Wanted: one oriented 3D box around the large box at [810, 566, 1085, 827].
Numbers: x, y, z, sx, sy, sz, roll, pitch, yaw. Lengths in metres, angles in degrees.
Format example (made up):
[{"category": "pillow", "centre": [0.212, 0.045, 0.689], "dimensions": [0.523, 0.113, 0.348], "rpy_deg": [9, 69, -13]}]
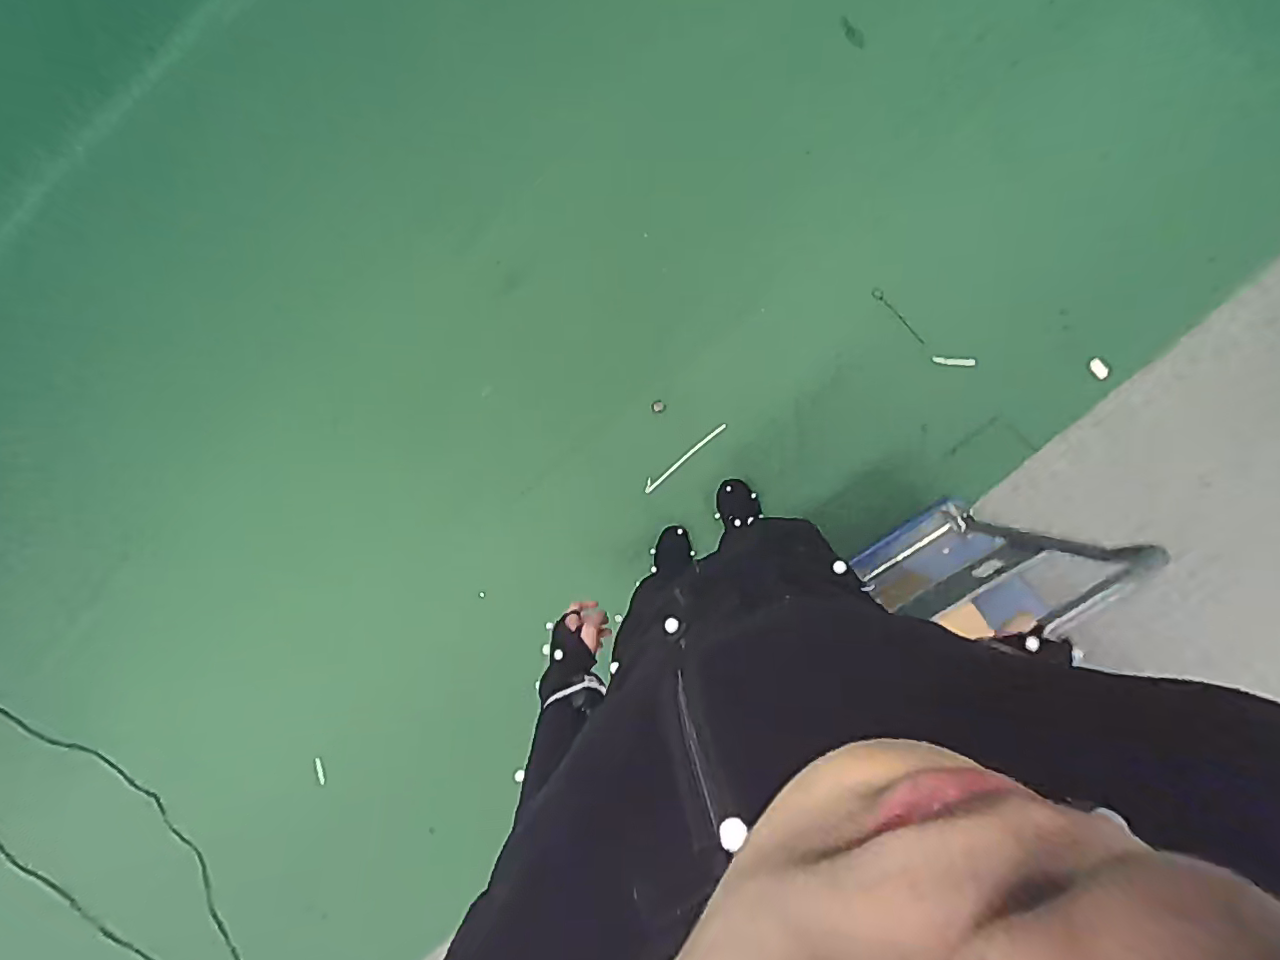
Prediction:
[{"category": "large box", "centre": [0.661, 0.460, 1.244], "dimensions": [0.320, 0.320, 0.408], "rpy_deg": [-36, 84, 6]}]
